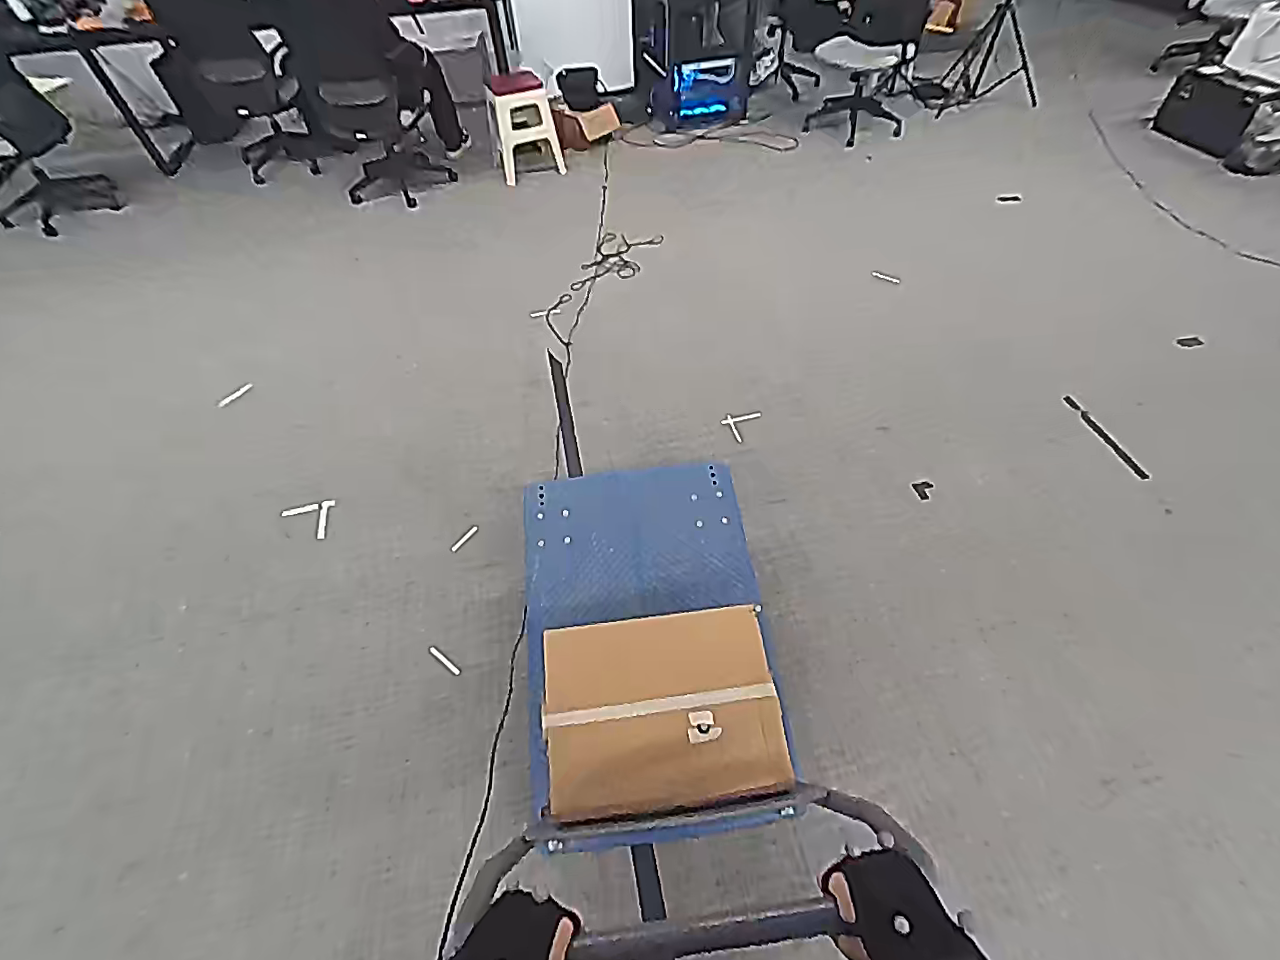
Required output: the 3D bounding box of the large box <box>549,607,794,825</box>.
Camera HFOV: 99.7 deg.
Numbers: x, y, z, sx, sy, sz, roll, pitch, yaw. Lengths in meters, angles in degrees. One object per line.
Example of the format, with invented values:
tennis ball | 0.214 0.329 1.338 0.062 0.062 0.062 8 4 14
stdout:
large box | 0.044 0.479 1.097 0.408 0.320 0.320 -7 61 -4
